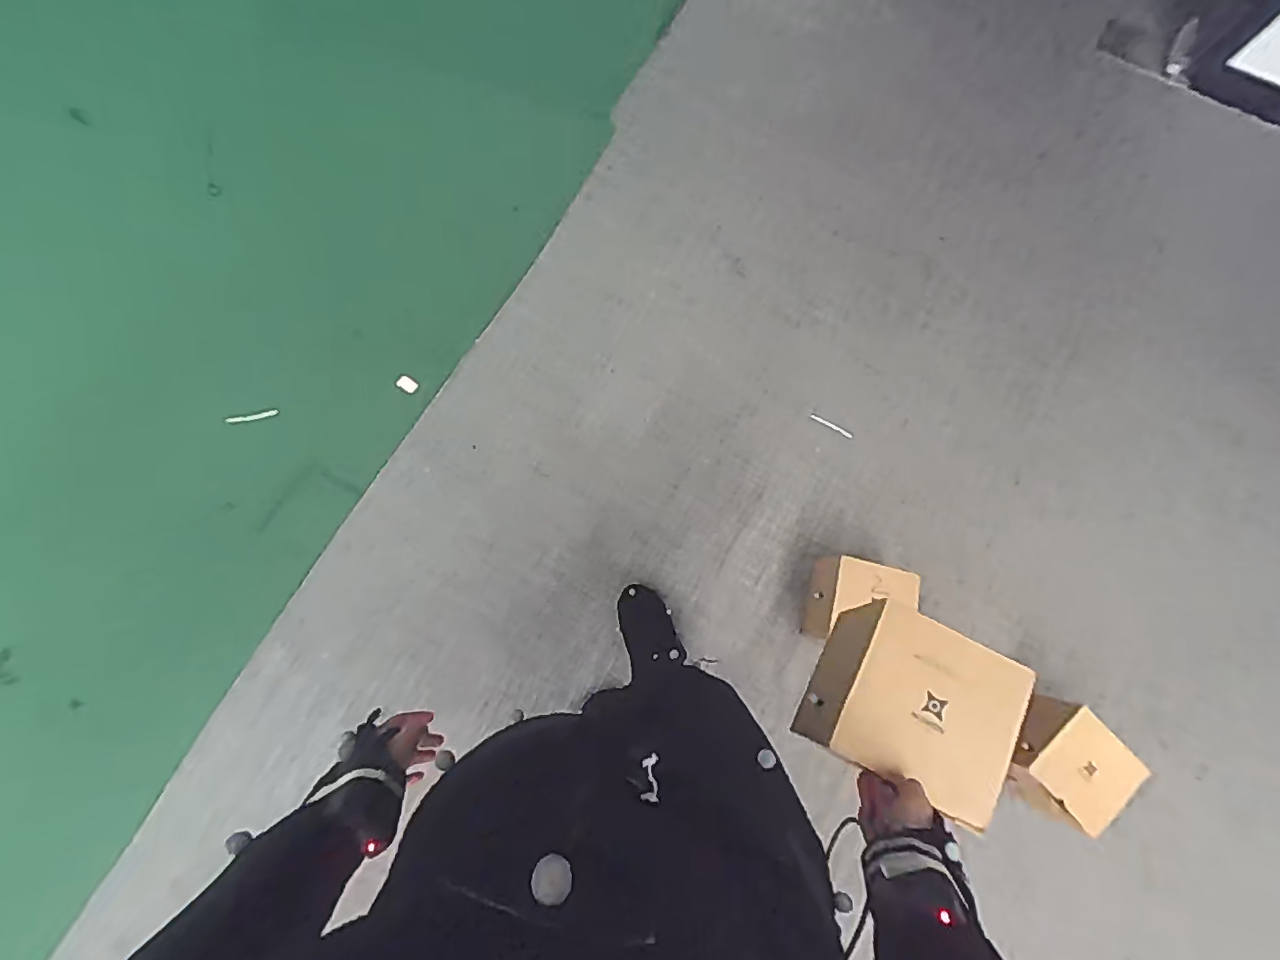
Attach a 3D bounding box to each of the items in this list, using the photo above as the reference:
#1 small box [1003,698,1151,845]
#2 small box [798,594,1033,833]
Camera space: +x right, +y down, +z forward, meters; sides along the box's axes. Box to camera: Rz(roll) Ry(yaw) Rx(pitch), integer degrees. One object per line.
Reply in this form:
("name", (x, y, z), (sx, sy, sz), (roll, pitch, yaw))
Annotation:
("small box", (0.840, 0.569, 1.087), (0.179, 0.176, 0.168), (-41, 82, -9))
("small box", (0.300, 0.257, 0.626), (0.168, 0.176, 0.179), (26, 73, 10))
